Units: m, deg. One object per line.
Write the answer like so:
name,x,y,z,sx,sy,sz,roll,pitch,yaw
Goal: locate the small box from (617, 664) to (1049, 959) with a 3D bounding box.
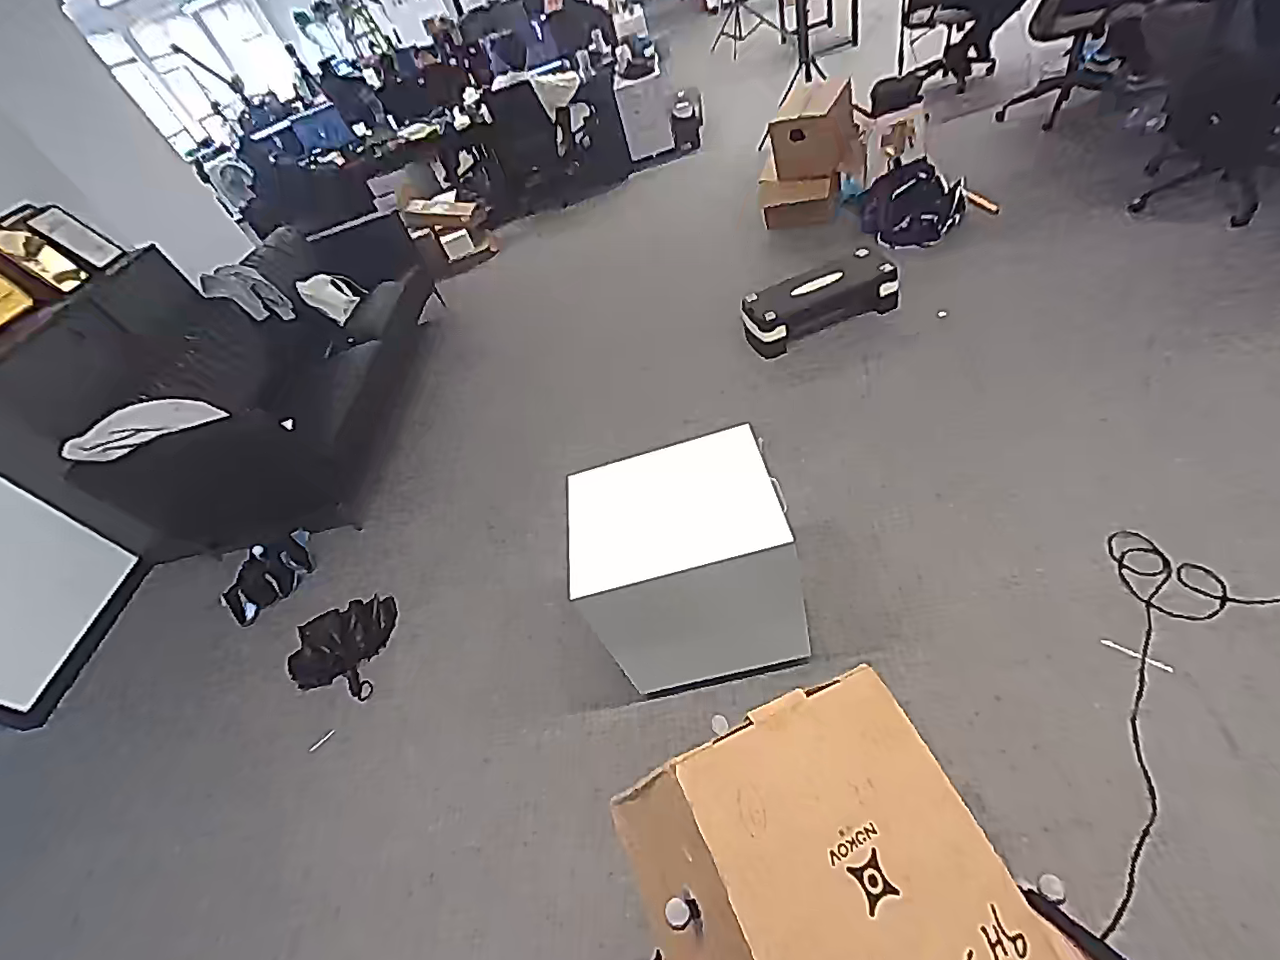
small box,0.100,0.256,0.364,0.168,0.176,0.179,-12,59,-26
